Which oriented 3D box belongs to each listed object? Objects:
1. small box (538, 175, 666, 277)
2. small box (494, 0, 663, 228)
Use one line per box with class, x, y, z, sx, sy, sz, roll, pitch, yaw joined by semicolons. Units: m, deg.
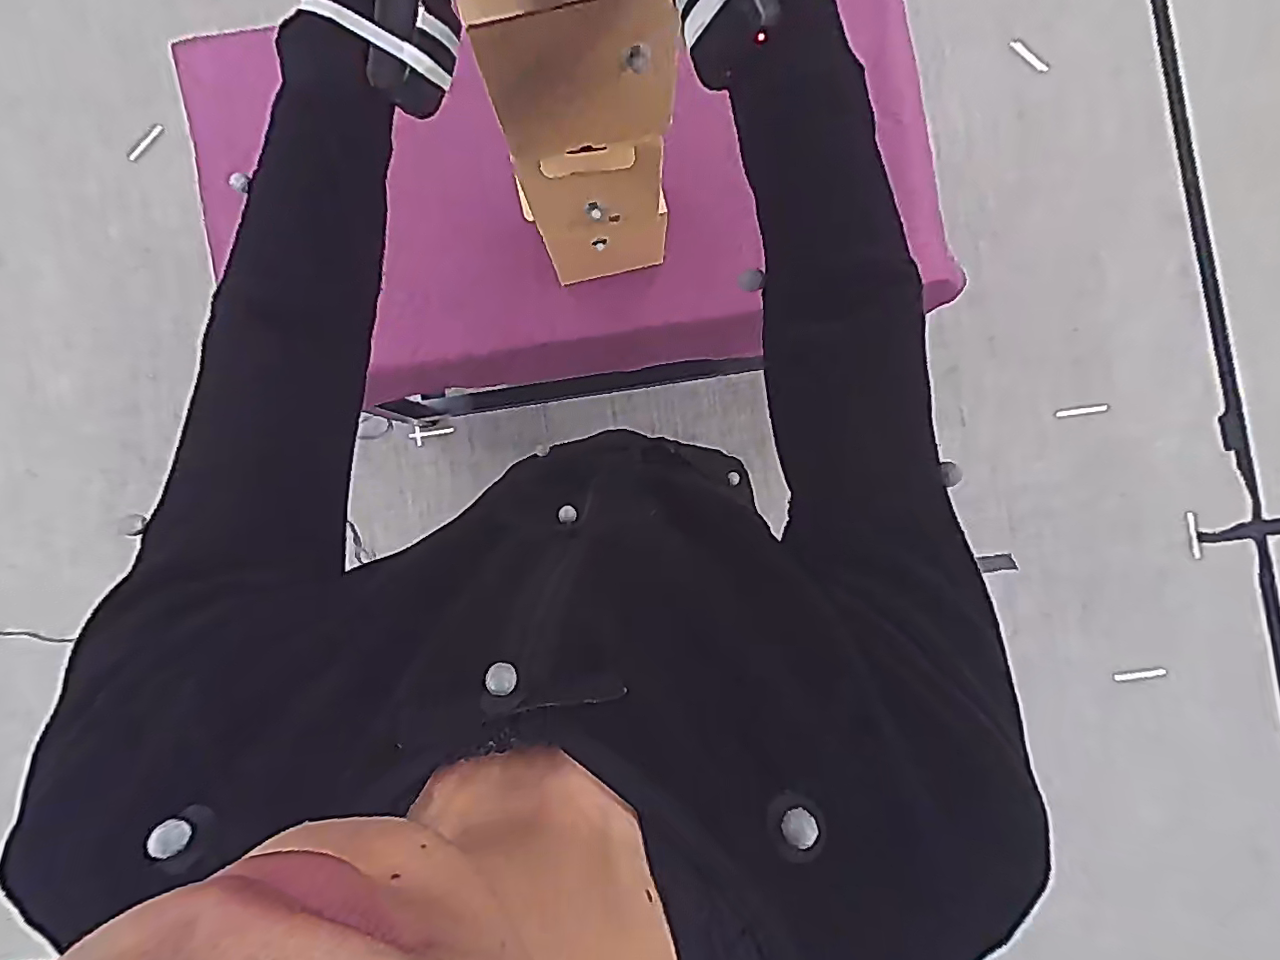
small box;-0.063;-0.428;0.814;0.179;0.176;0.168;-13;89;0
small box;-0.066;-0.434;0.649;0.168;0.176;0.179;-7;89;1
